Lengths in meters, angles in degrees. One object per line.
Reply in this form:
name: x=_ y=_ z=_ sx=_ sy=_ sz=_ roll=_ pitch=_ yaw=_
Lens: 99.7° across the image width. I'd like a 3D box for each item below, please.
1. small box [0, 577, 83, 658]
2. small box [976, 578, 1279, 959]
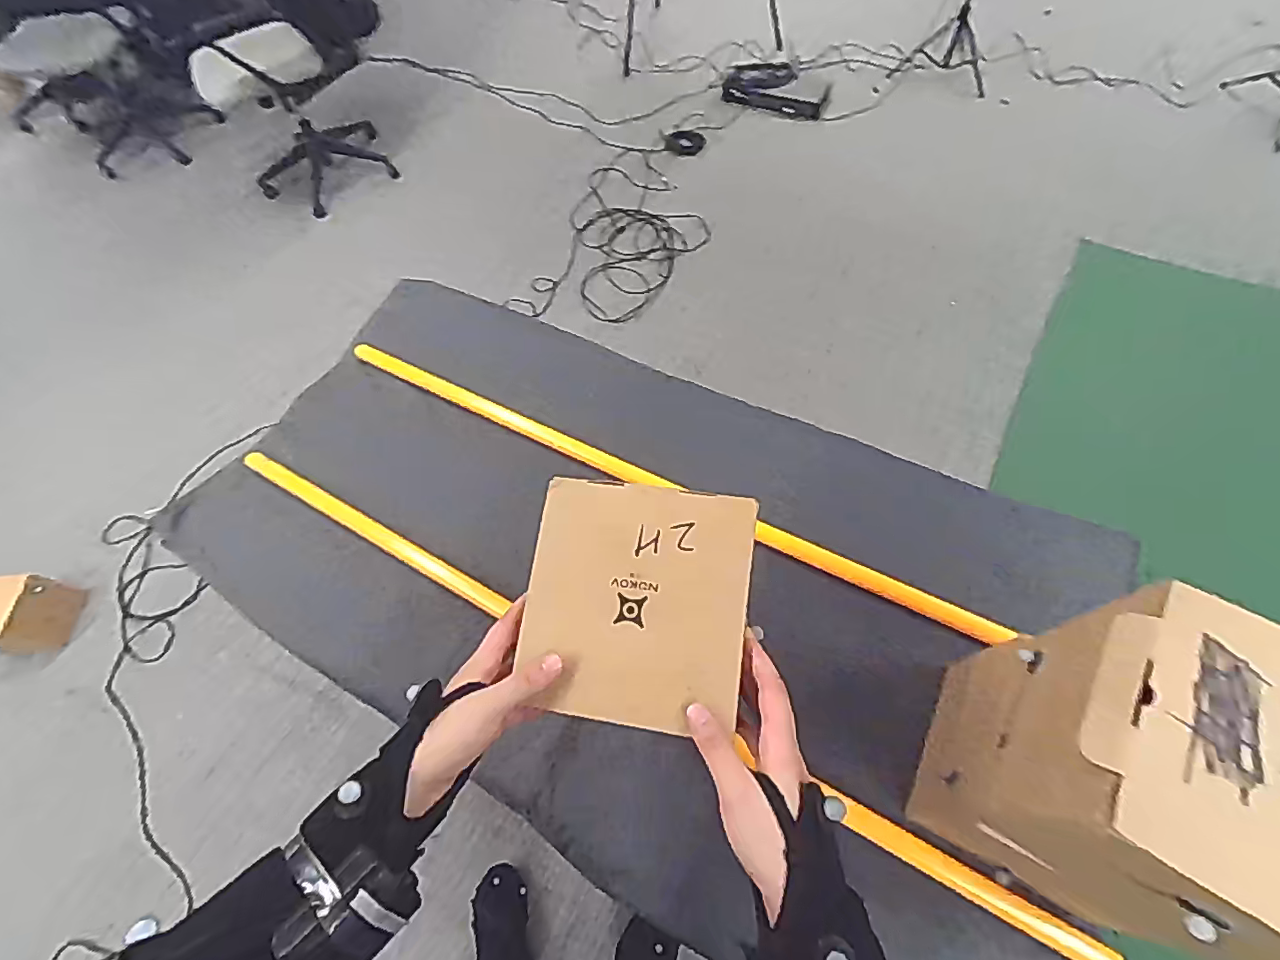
small box: x=-1.708 y=0.384 z=1.484 sx=0.168 sy=0.176 sz=0.179 roll=-7 pitch=60 yaw=1
small box: x=0.364 y=0.199 z=0.355 sx=0.179 sy=0.176 sz=0.168 roll=29 pitch=68 yaw=19
